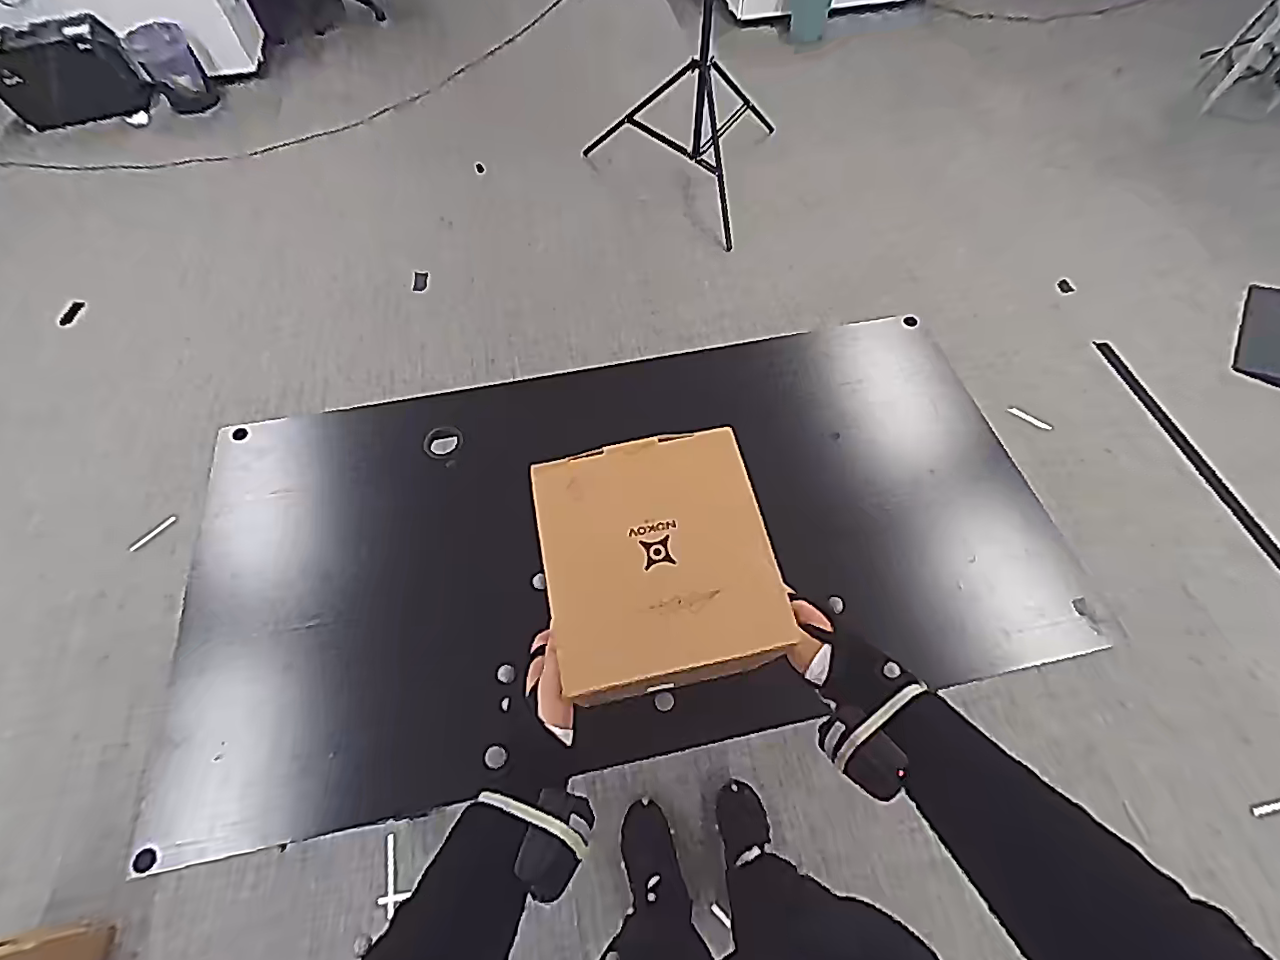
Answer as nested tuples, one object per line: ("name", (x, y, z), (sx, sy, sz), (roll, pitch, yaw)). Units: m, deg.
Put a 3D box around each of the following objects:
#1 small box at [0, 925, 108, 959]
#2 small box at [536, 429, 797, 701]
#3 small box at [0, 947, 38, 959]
("small box", (-1.186, 0.974, 1.029), (0.168, 0.176, 0.179), (-3, 61, -1))
("small box", (0.013, 0.083, 0.475), (0.168, 0.176, 0.179), (-12, 66, -4))
("small box", (-1.177, 0.896, 0.884), (0.179, 0.176, 0.168), (-6, 59, -2))
